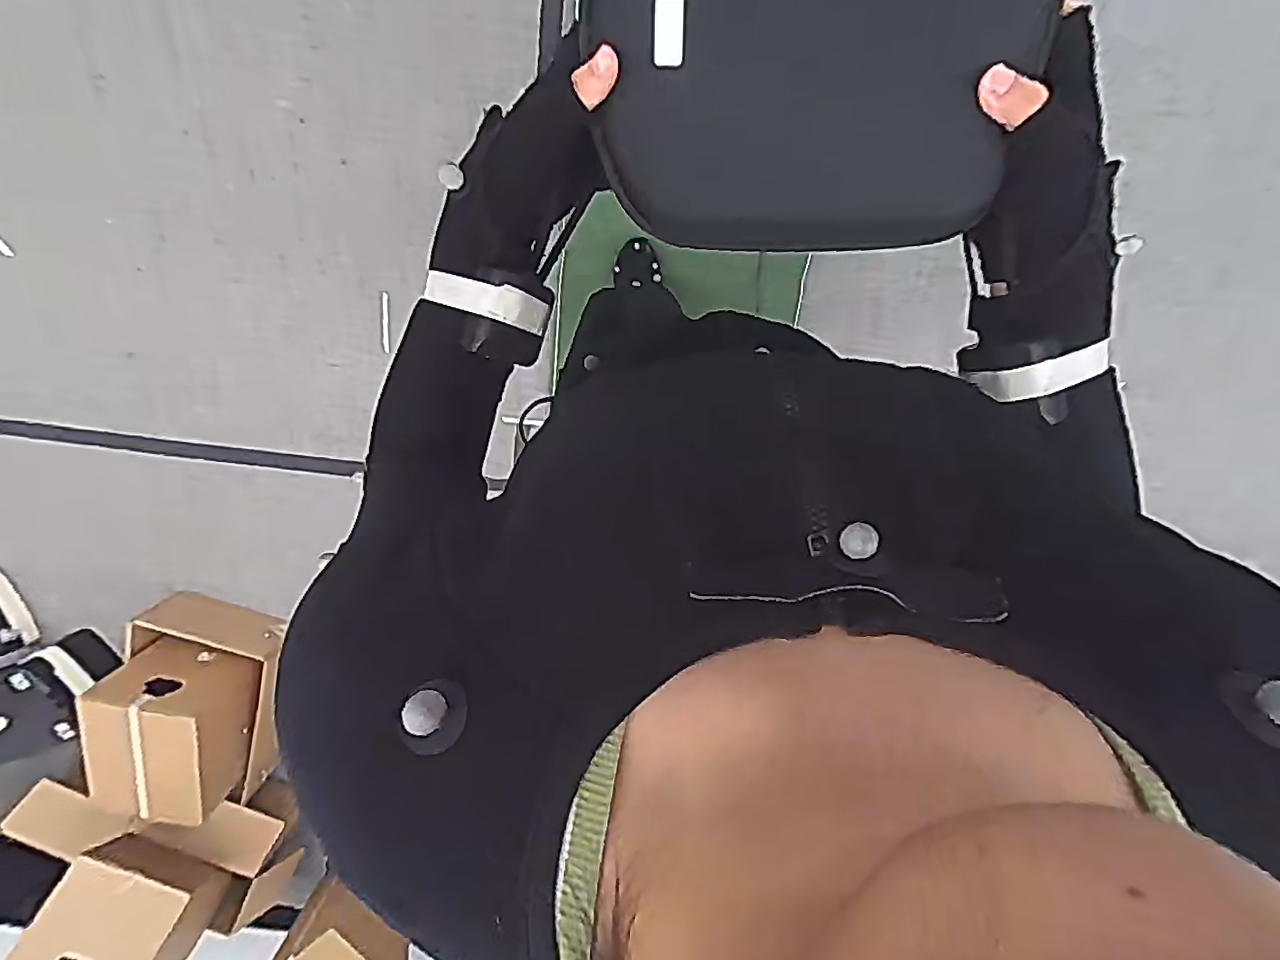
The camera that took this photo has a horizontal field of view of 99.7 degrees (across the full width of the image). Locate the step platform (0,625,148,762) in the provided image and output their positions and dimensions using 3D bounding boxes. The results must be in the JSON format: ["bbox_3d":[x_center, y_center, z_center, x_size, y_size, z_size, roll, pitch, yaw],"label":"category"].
[{"bbox_3d":[-2.020,0.726,1.762,0.684,0.204,0.286,-21,107,8],"label":"step platform"}]
